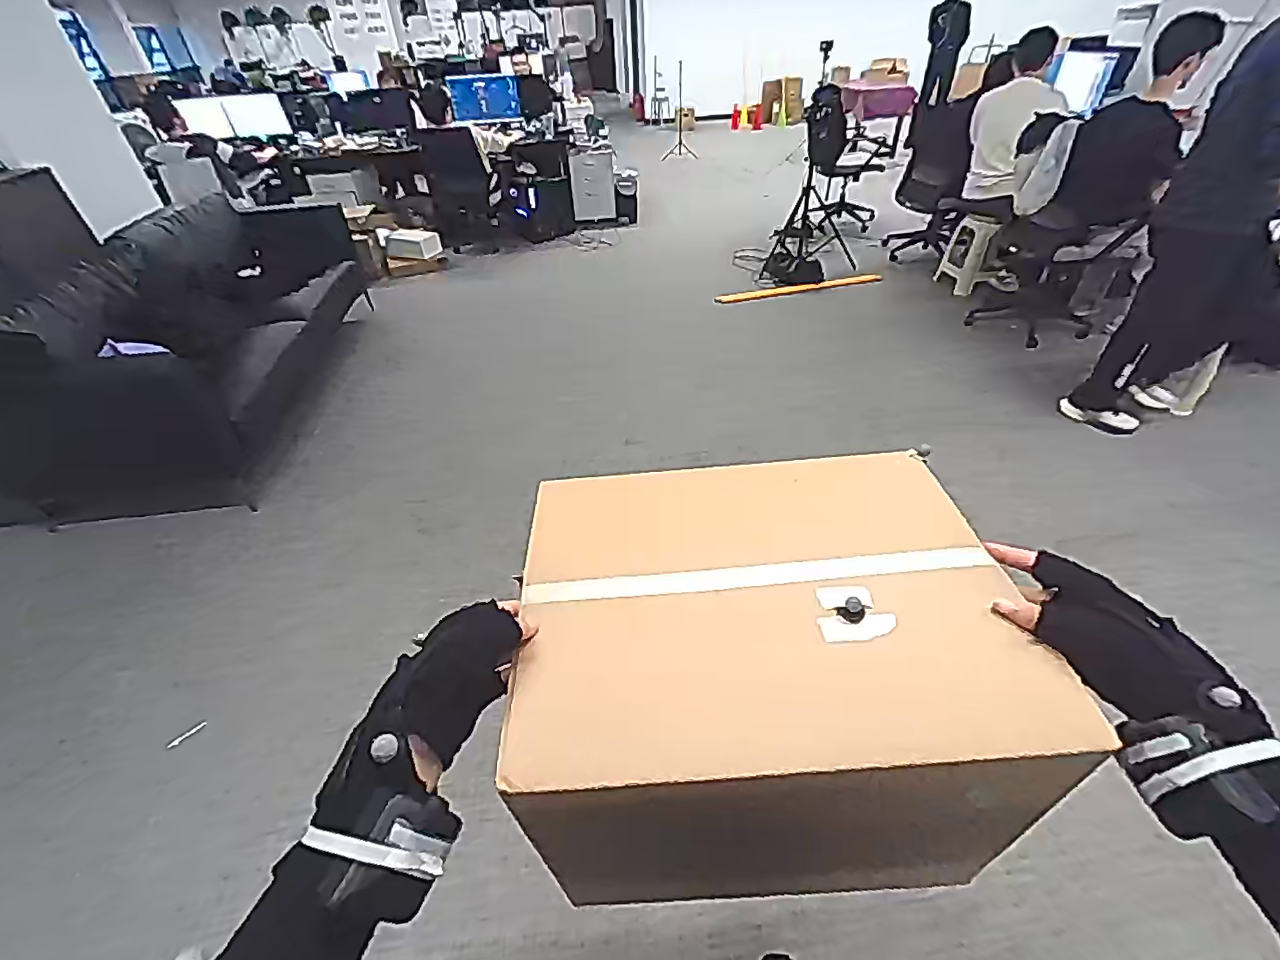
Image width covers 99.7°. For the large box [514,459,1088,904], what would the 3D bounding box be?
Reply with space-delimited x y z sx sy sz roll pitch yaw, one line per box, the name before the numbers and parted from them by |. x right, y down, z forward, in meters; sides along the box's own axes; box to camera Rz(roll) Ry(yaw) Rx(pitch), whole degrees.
large box | 0.112 0.207 0.574 0.408 0.320 0.320 -5 41 1
